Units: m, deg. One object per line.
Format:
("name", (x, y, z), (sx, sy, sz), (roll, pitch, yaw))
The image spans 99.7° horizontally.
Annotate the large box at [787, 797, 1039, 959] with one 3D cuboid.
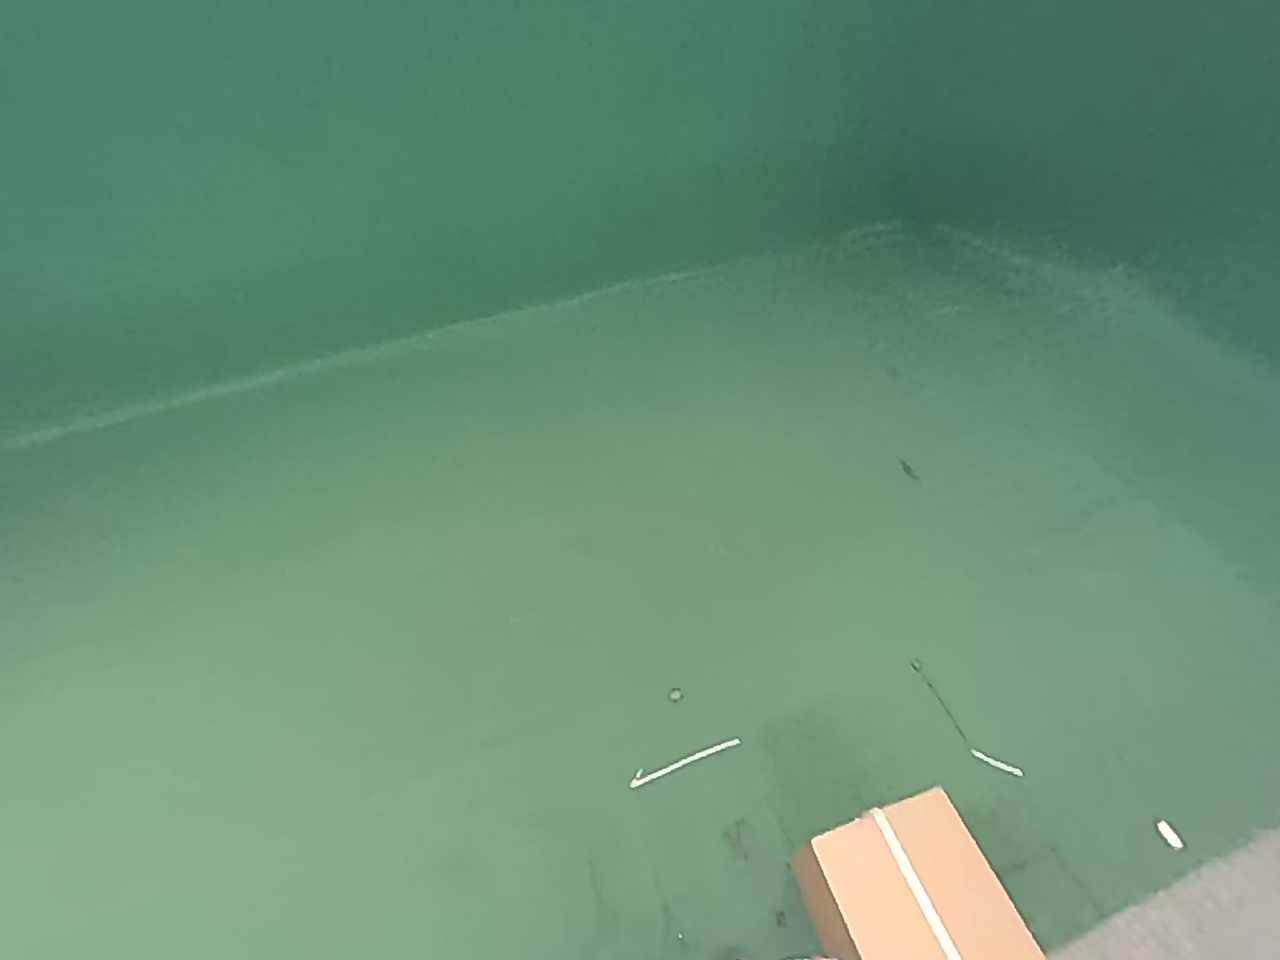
("large box", (0.553, 0.946, 1.108), (0.320, 0.320, 0.408), (-16, 50, -9))
